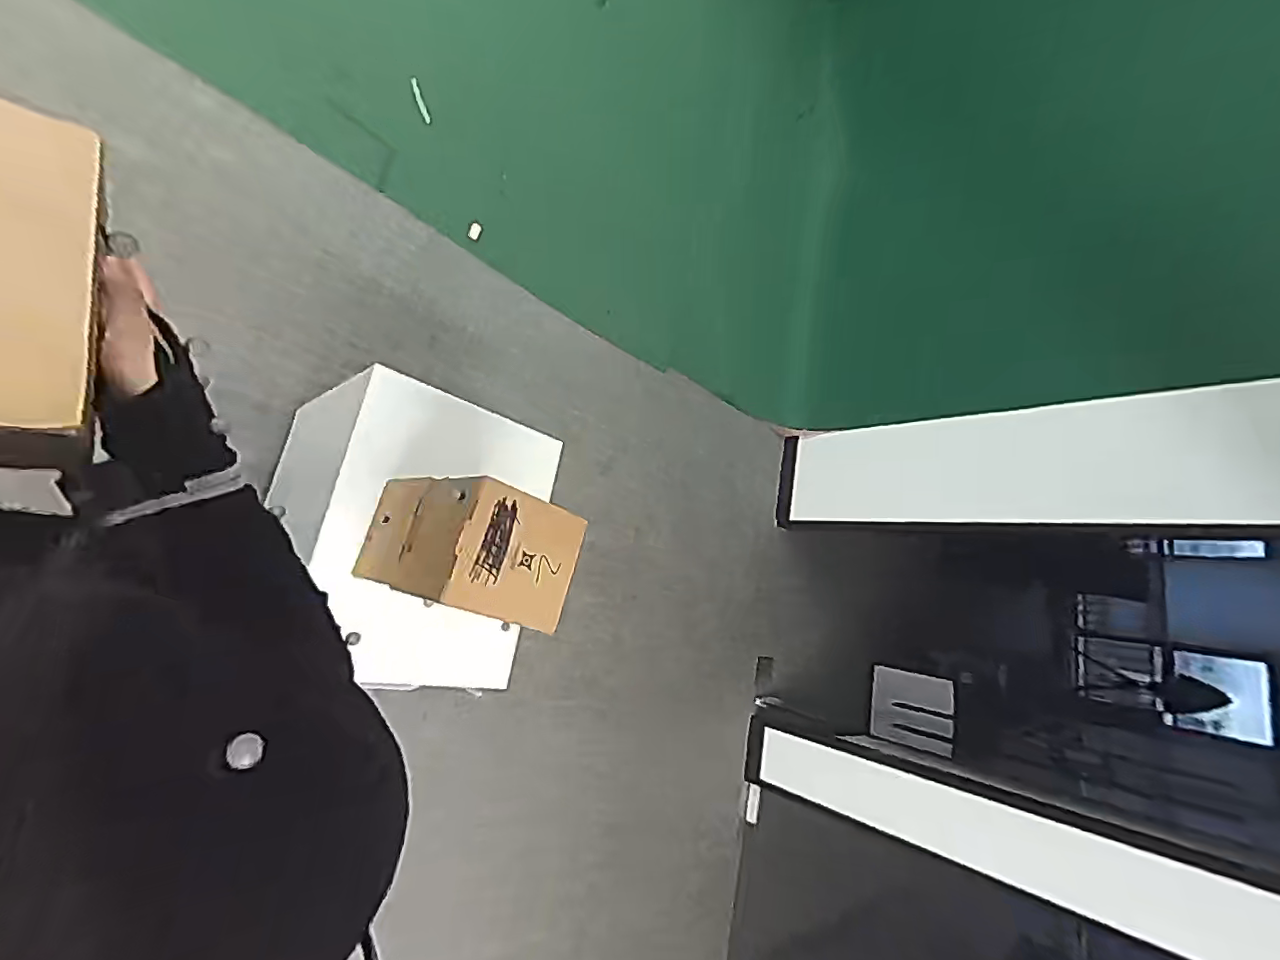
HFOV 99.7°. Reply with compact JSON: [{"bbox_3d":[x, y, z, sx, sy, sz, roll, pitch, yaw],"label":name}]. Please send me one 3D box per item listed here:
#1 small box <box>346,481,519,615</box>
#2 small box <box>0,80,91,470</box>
[{"bbox_3d":[-0.330,0.108,0.861,0.179,0.176,0.168,28,68,-41],"label":"small box"},{"bbox_3d":[-0.408,-0.107,0.278,0.168,0.176,0.179,4,80,-44],"label":"small box"}]
